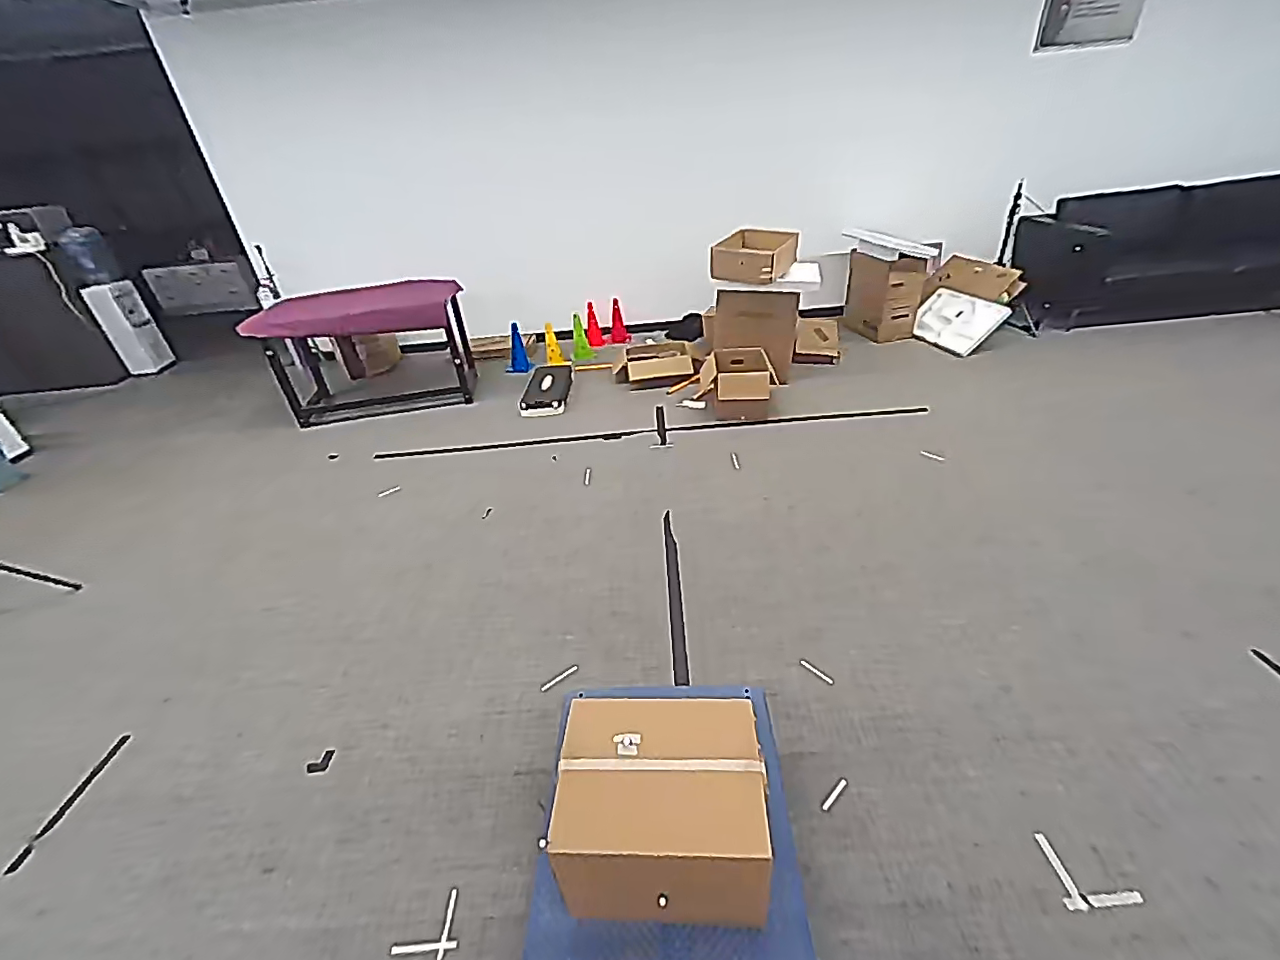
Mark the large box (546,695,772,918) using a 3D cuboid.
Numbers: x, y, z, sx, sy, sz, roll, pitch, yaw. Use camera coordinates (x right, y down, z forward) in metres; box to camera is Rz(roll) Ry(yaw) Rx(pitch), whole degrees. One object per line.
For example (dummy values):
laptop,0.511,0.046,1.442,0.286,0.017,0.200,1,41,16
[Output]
large box,0.051,0.690,1.147,0.408,0.320,0.320,-4,32,5
